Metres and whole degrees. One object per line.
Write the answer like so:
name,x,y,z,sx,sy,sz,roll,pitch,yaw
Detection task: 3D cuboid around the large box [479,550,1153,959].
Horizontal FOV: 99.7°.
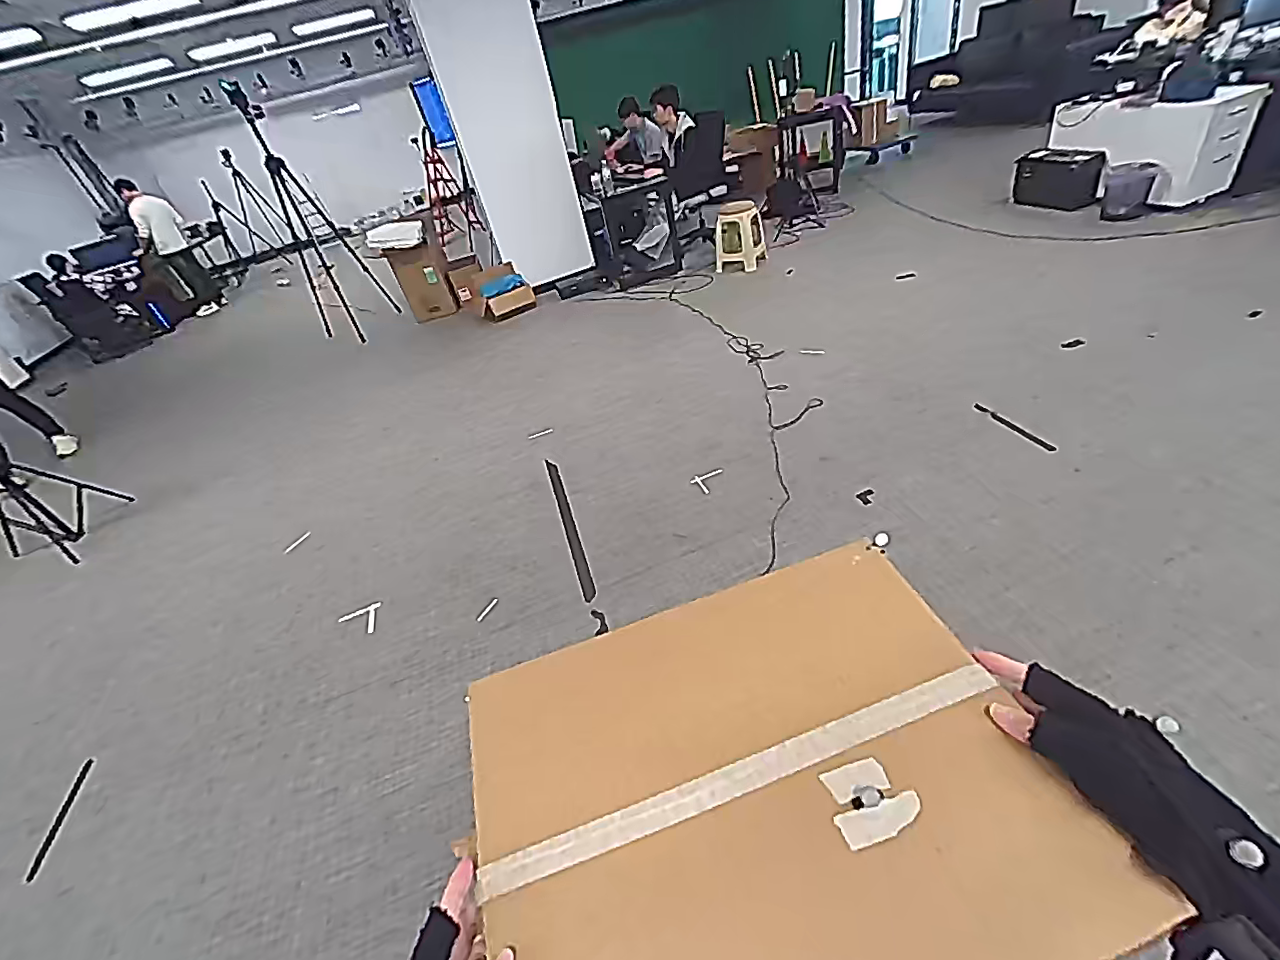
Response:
large box,0.105,0.333,0.509,0.408,0.320,0.320,-18,43,-8
